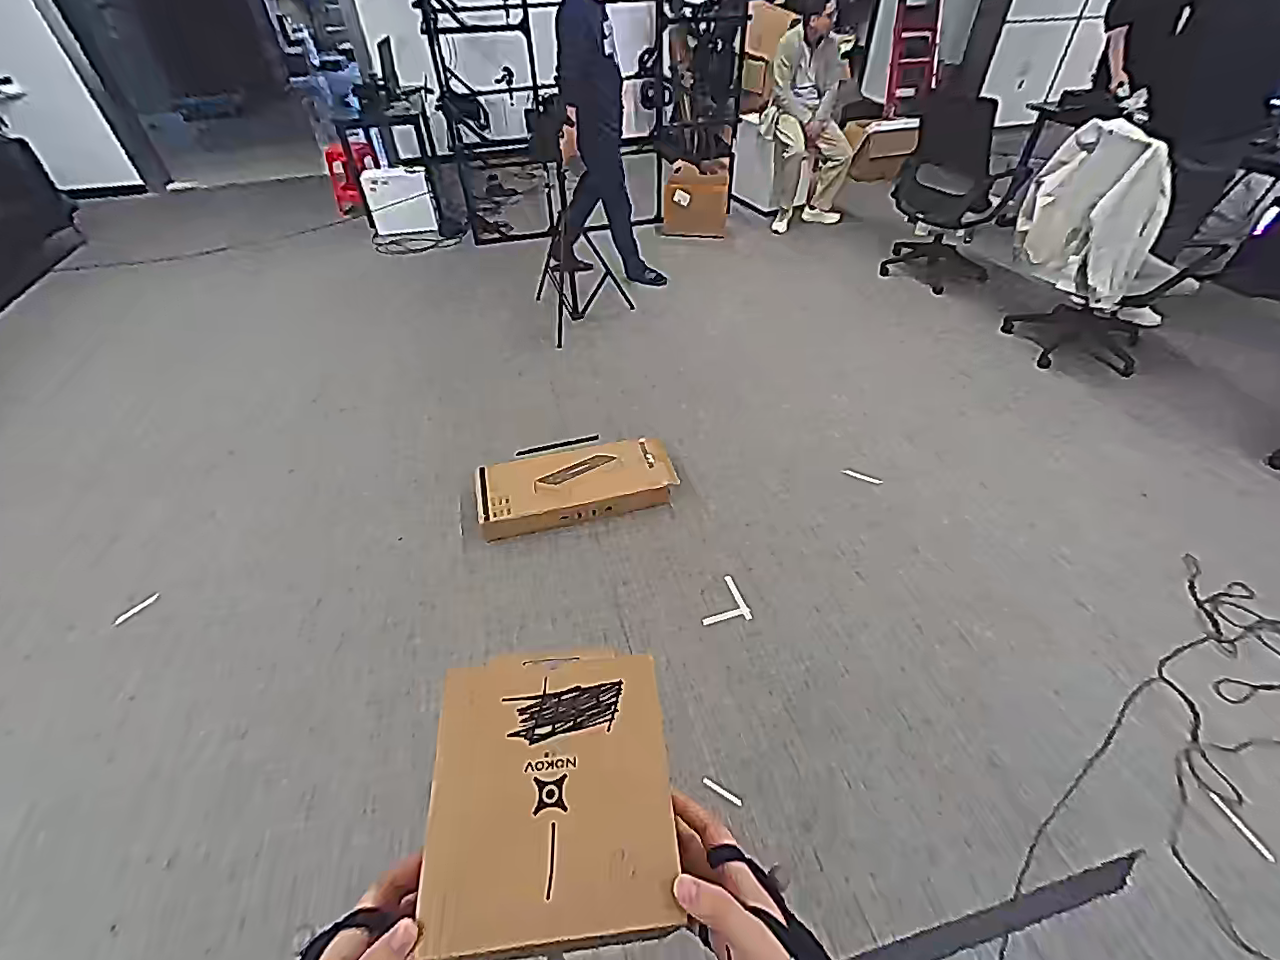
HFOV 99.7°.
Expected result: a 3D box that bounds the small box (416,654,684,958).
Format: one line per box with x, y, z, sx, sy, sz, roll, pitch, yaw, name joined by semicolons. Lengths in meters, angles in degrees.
-0.065;0.265;0.442;0.168;0.176;0.179;-3;48;-6;small box
